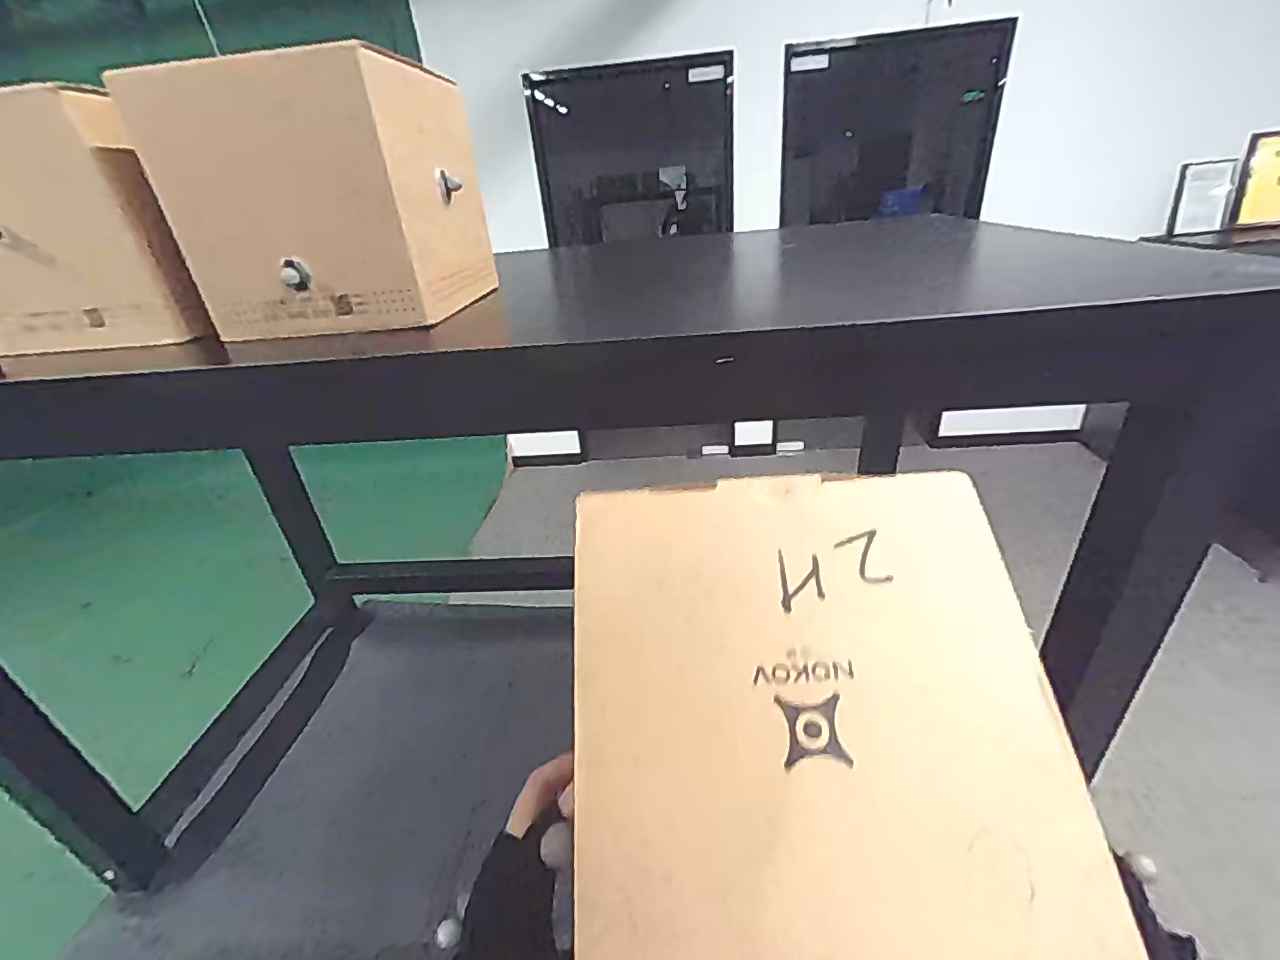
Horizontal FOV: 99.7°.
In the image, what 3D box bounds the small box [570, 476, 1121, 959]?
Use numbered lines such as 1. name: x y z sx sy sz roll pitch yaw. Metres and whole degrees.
1. small box: 0.061 0.114 0.264 0.168 0.176 0.179 -3 63 1
